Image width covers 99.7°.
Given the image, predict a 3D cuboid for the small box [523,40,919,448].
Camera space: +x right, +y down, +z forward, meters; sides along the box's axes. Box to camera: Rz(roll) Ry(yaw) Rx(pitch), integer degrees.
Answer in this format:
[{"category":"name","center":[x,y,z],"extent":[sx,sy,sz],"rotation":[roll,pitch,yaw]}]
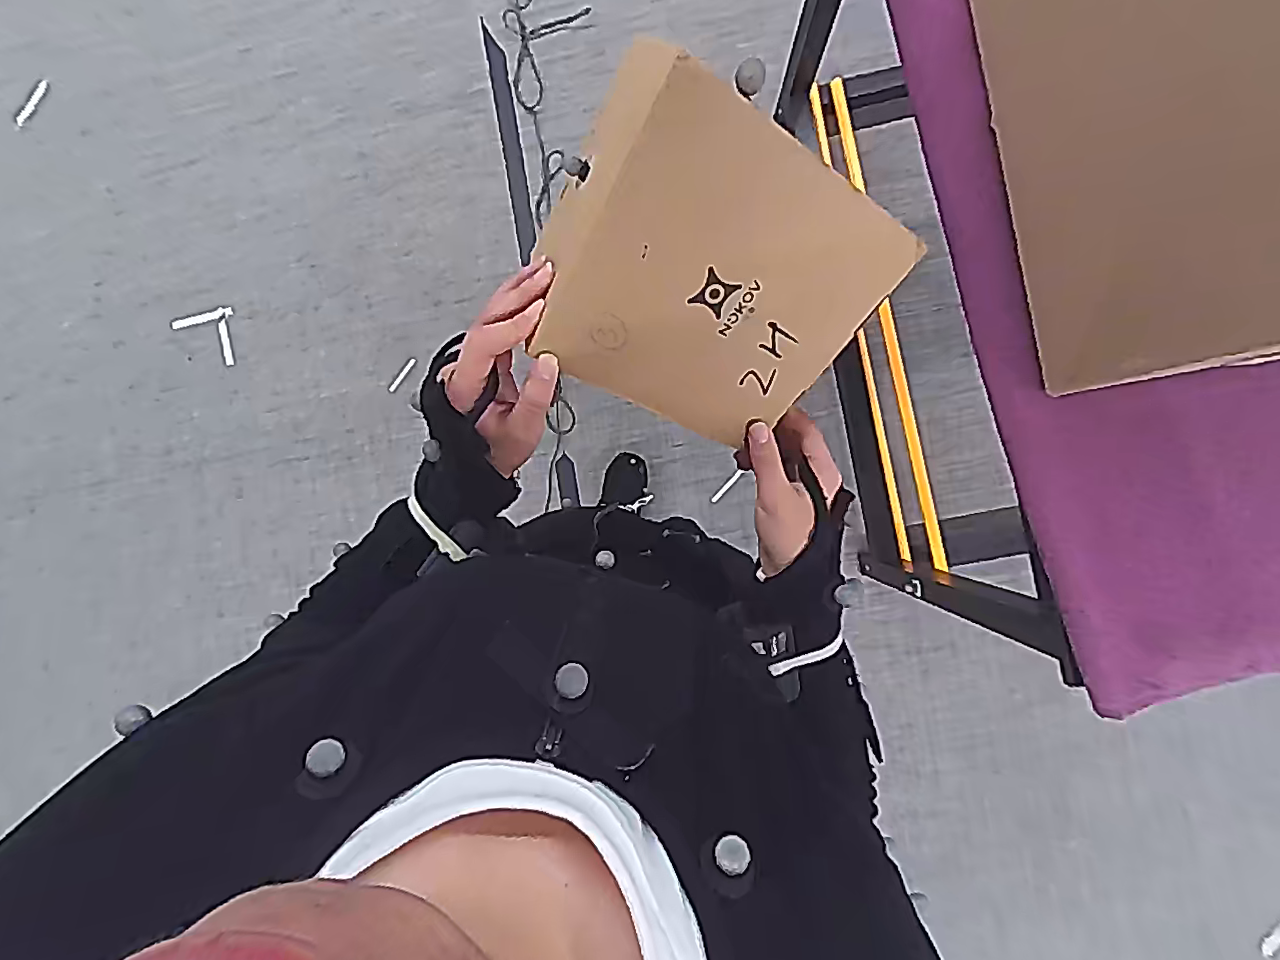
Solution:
[{"category":"small box","center":[0.035,-0.157,0.370],"extent":[0.179,0.176,0.168],"rotation":[21,125,-26]}]
